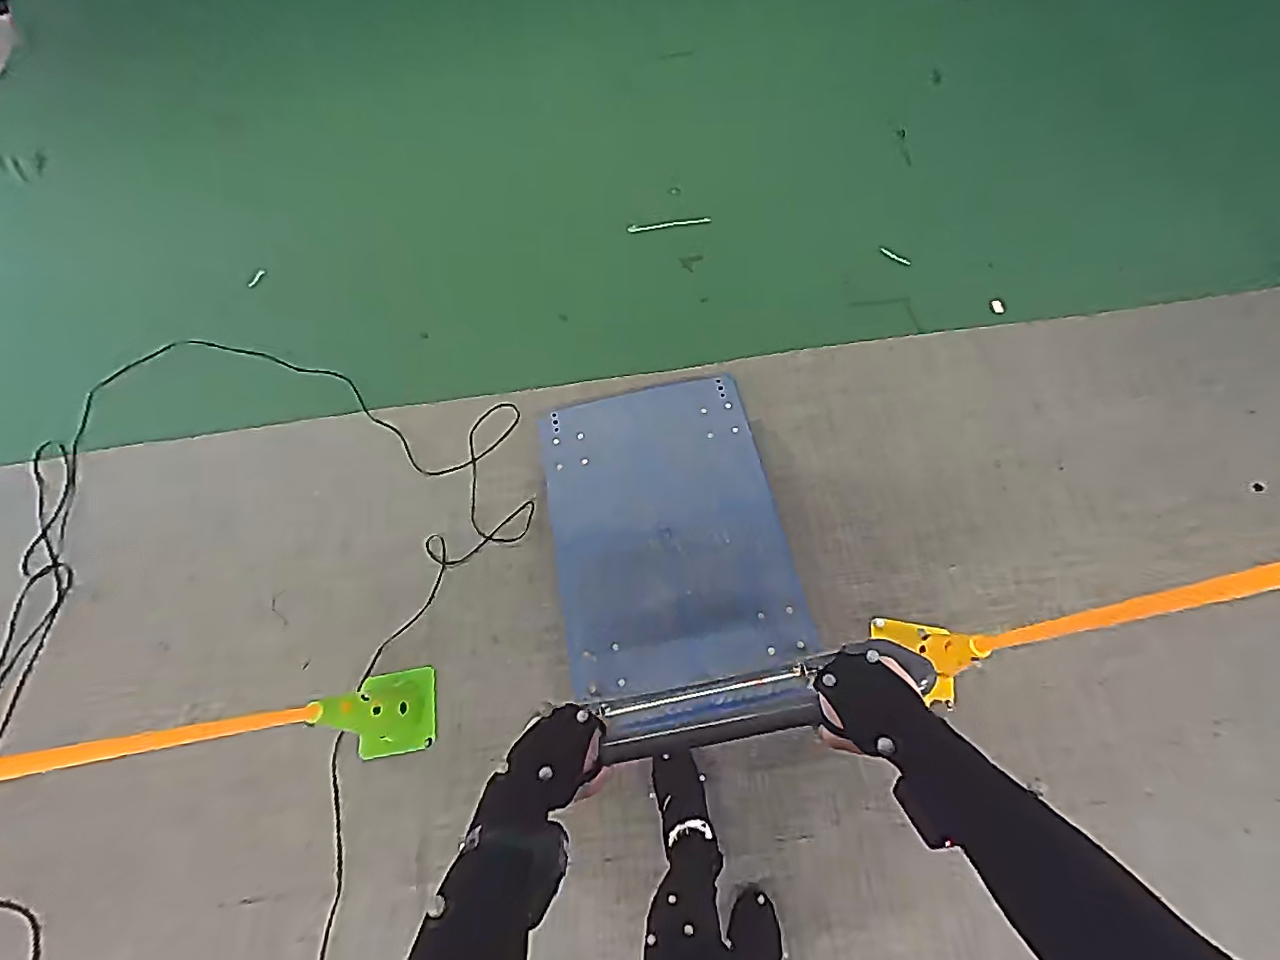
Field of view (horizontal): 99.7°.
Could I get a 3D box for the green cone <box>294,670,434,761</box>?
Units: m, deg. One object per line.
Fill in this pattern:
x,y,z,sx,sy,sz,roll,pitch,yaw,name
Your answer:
-0.653,0.541,1.251,0.202,0.368,0.200,-12,66,2,green cone
